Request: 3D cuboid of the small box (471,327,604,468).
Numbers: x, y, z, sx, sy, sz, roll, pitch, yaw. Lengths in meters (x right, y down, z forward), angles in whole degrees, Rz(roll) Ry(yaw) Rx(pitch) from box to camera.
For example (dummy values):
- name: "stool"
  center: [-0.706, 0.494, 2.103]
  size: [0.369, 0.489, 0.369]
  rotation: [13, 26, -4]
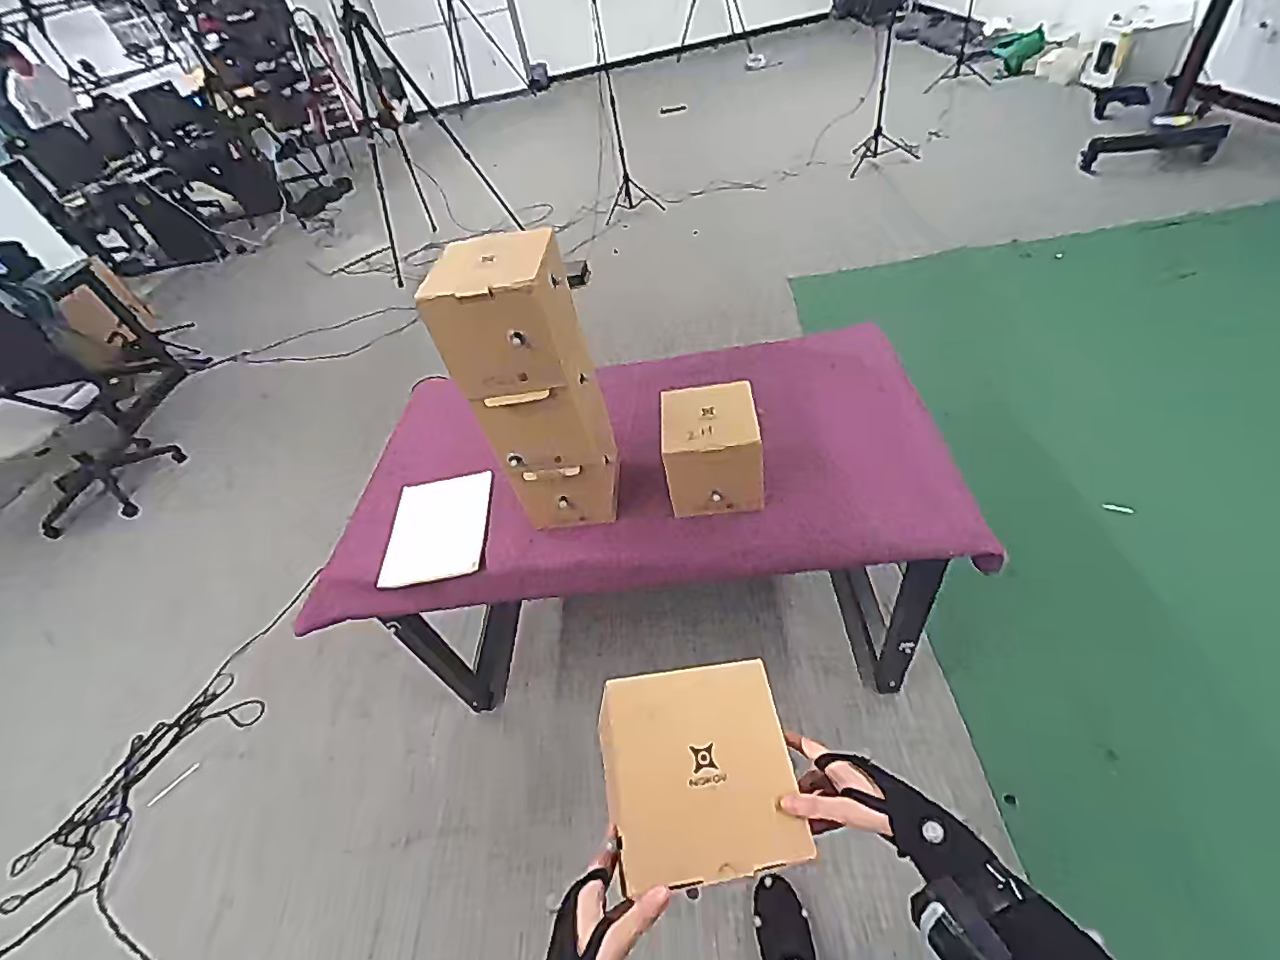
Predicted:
- name: "small box"
  center: [-0.162, -0.134, 0.927]
  size: [0.168, 0.176, 0.179]
  rotation: [-6, 45, 8]

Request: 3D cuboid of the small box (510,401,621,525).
- name: "small box"
  center: [-0.133, -0.026, 1.048]
  size: [0.168, 0.176, 0.179]
  rotation: [-5, 46, 8]

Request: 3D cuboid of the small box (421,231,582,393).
- name: "small box"
  center: [-0.190, -0.243, 0.809]
  size: [0.168, 0.176, 0.179]
  rotation: [-5, 45, 9]

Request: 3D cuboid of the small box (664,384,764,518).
- name: "small box"
  center: [0.137, -0.052, 1.003]
  size: [0.168, 0.176, 0.179]
  rotation: [-6, 45, 9]
